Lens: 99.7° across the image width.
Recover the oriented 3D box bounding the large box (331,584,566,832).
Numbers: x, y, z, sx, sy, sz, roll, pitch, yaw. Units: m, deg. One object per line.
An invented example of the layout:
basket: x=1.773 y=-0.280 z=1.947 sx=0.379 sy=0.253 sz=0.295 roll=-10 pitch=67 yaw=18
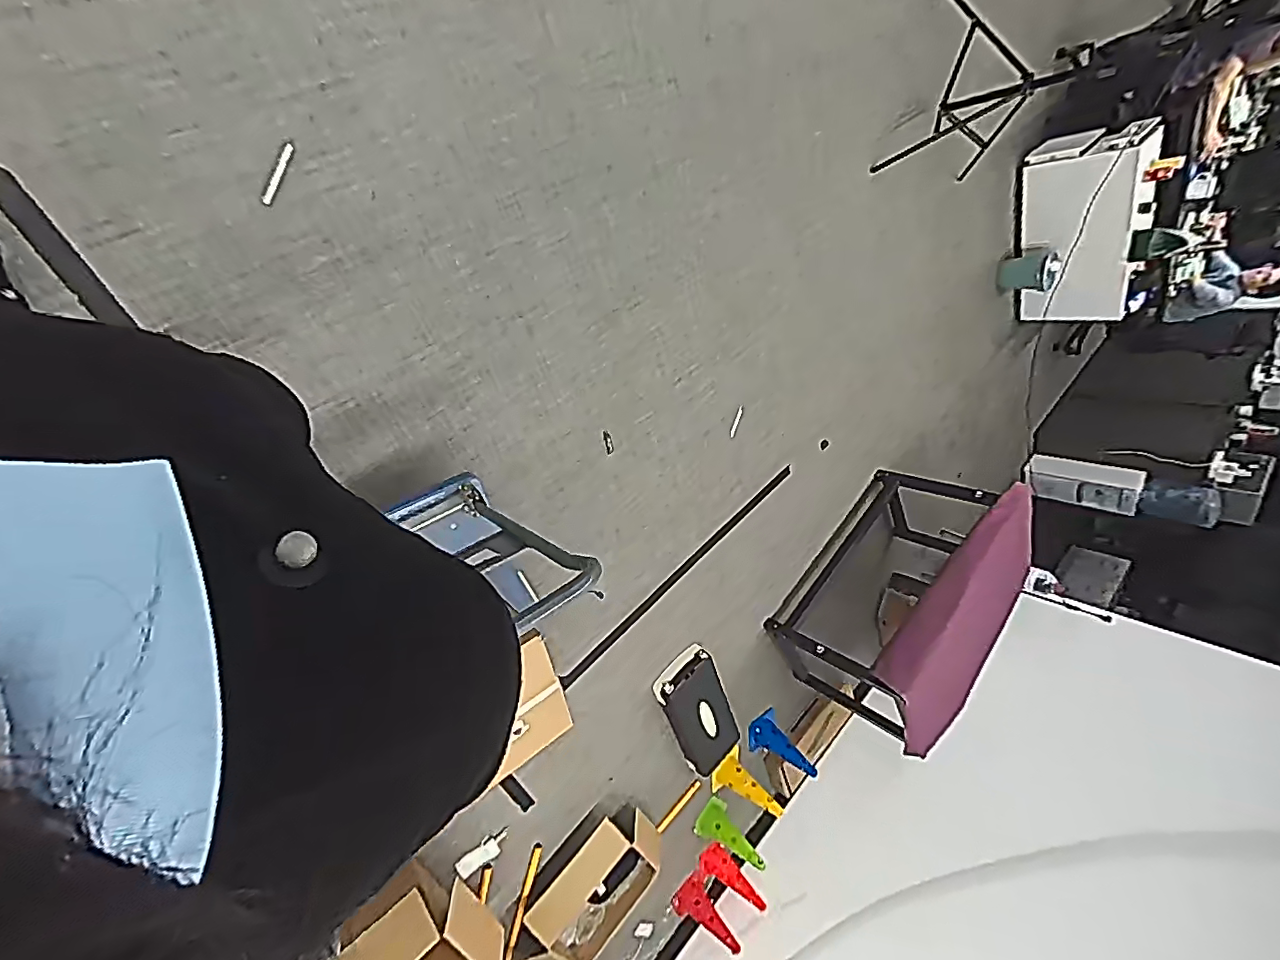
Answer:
large box: x=-0.461 y=0.525 z=1.328 sx=0.408 sy=0.320 sz=0.320 roll=-29 pitch=120 yaw=-32
